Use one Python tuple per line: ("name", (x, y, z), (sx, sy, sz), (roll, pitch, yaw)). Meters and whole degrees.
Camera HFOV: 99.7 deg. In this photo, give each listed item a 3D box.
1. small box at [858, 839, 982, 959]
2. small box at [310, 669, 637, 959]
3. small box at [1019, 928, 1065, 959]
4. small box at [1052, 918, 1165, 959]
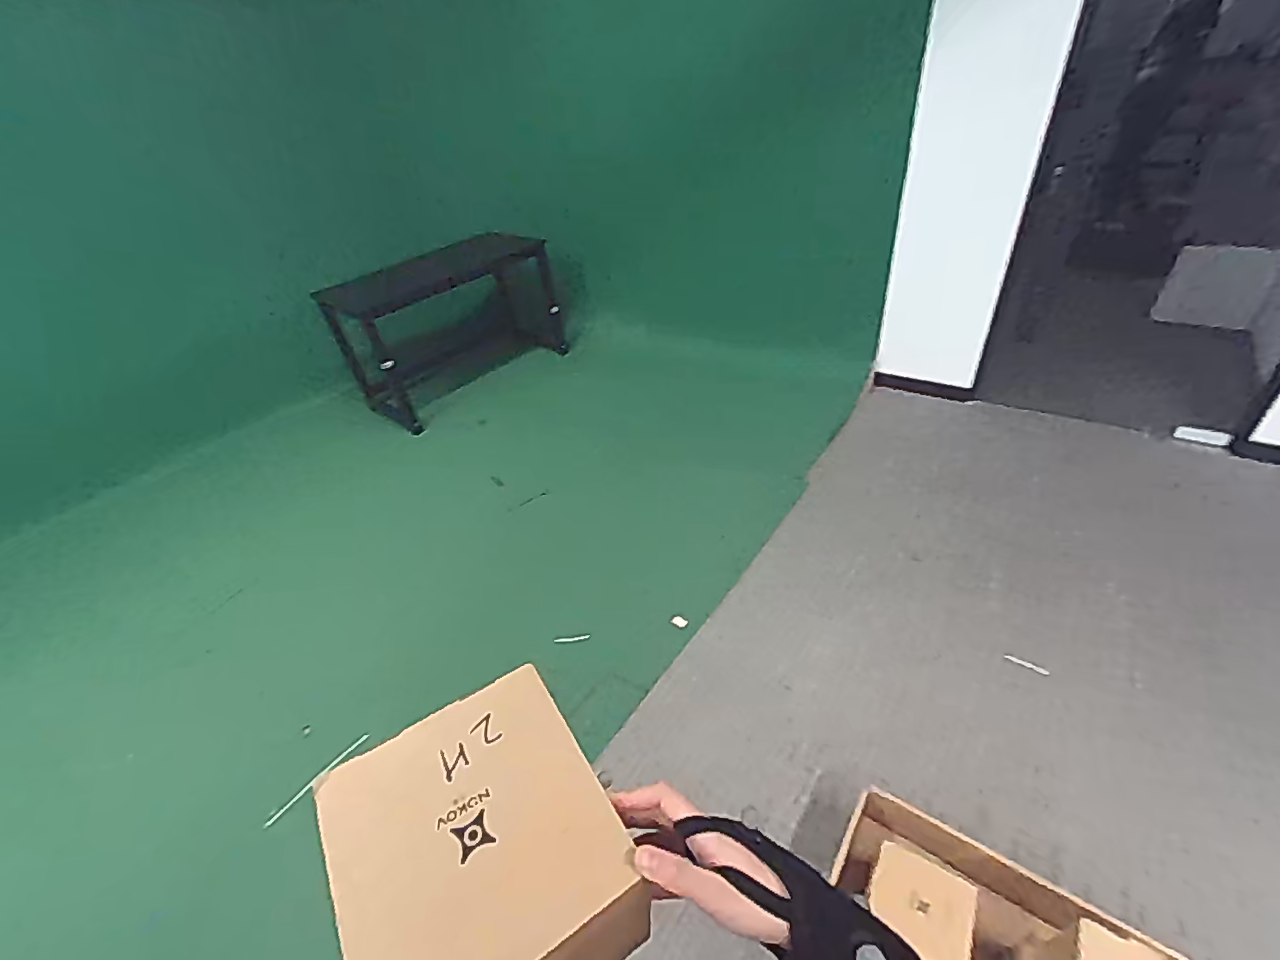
("small box", (0.552, 0.873, 1.079), (0.179, 0.176, 0.168), (18, 47, 28))
("small box", (-0.112, 0.288, 0.402), (0.168, 0.176, 0.179), (-24, 44, -25))
("small box", (0.775, 0.945, 0.944), (0.179, 0.176, 0.168), (15, 45, 28))
("small box", (0.746, 0.834, 0.825), (0.168, 0.176, 0.179), (18, 45, 31))
